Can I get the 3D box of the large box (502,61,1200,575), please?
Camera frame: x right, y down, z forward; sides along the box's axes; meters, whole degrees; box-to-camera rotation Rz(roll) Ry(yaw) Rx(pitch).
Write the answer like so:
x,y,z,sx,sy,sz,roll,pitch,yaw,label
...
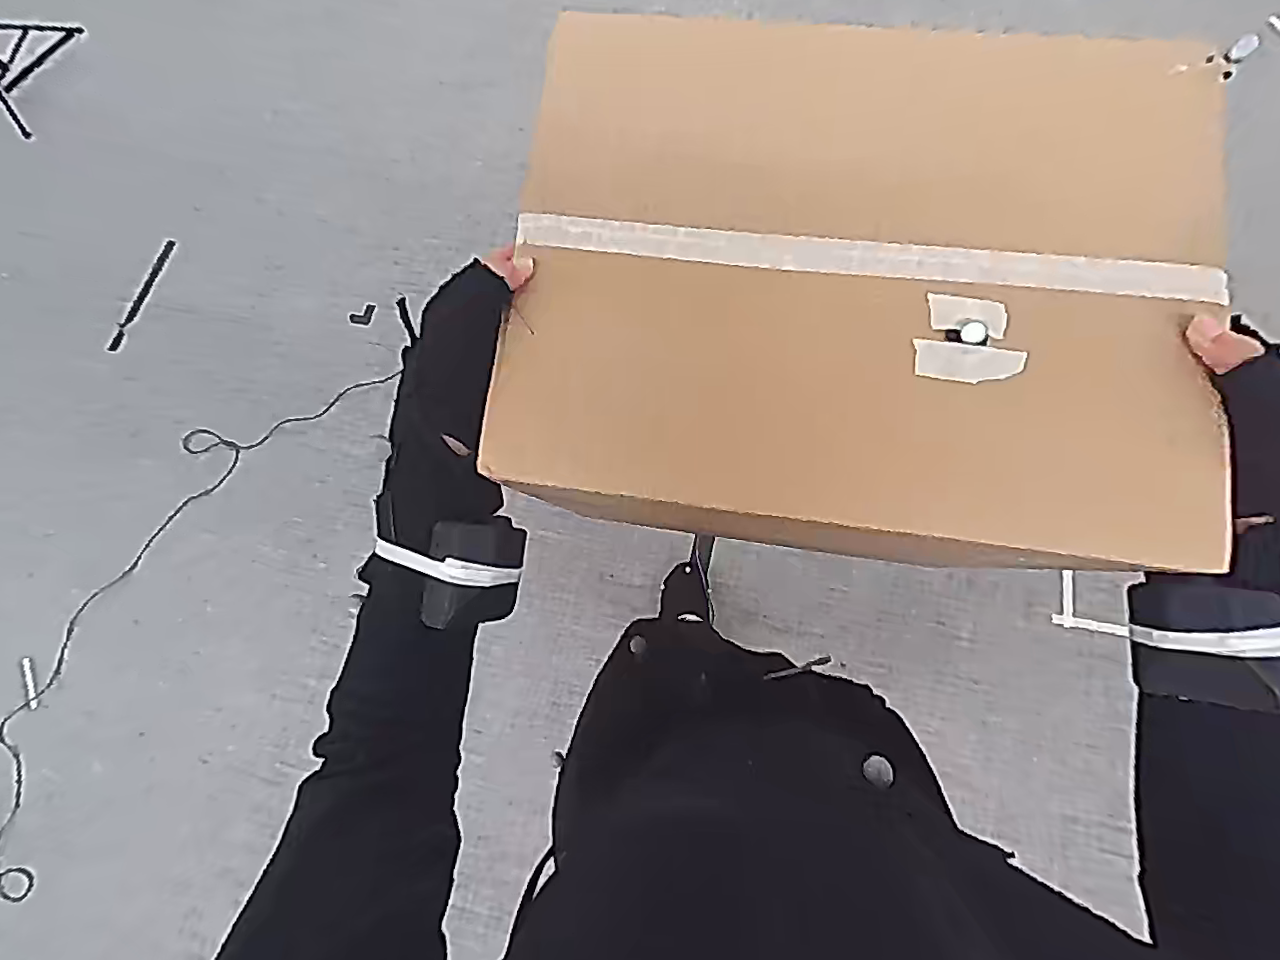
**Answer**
x,y,z,sx,sy,sz,roll,pitch,yaw,label
0.136,-0.096,0.480,0.408,0.320,0.320,7,83,5,large box
